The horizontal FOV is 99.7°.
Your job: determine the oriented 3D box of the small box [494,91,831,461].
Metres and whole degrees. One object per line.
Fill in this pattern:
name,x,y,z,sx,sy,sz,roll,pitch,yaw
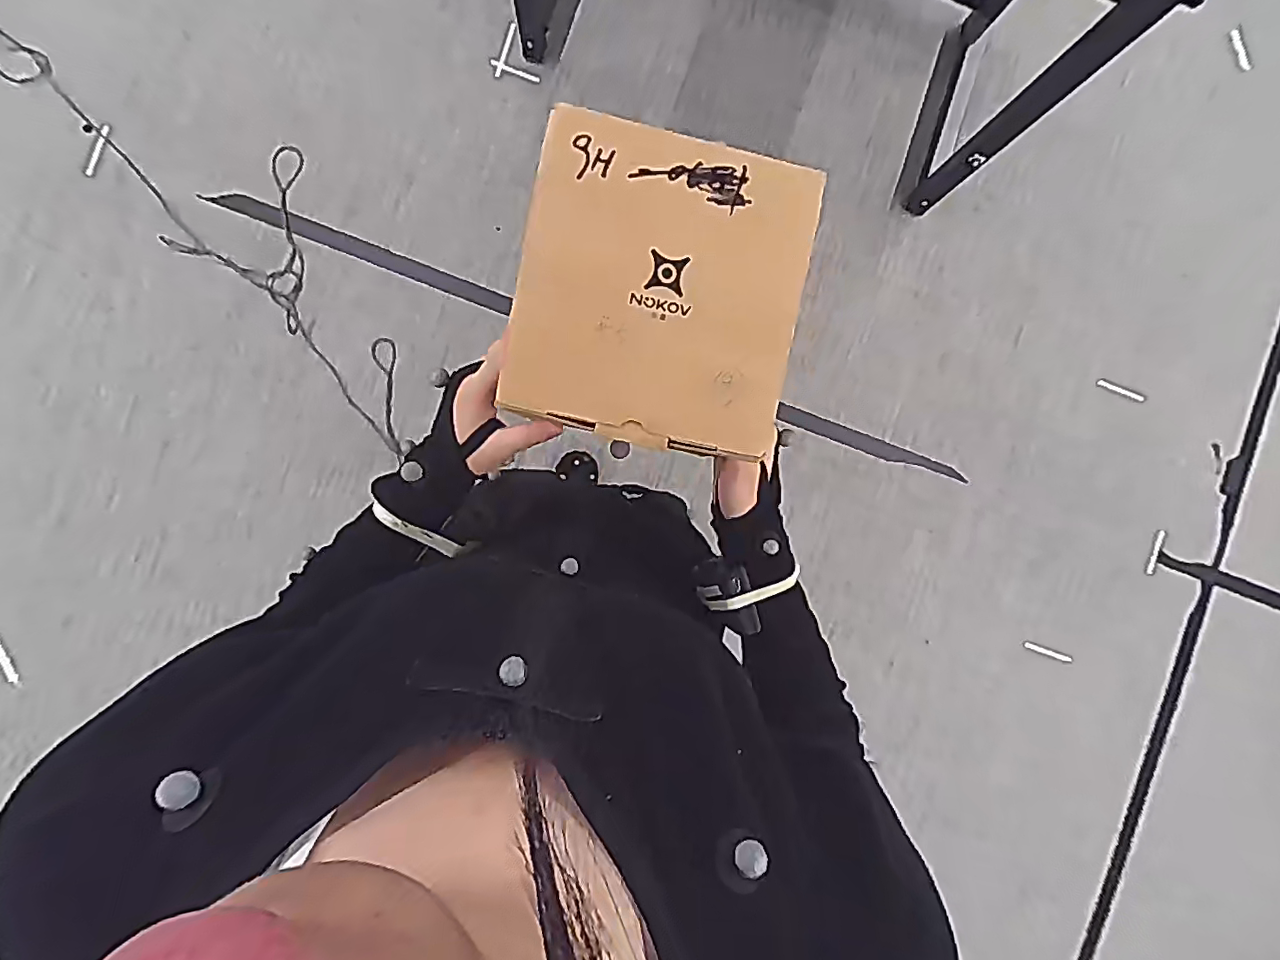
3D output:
small box,0.007,-0.118,0.386,0.168,0.176,0.179,11,94,-7

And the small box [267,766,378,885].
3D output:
small box,-0.781,0.854,1.352,0.168,0.176,0.179,16,90,-5
